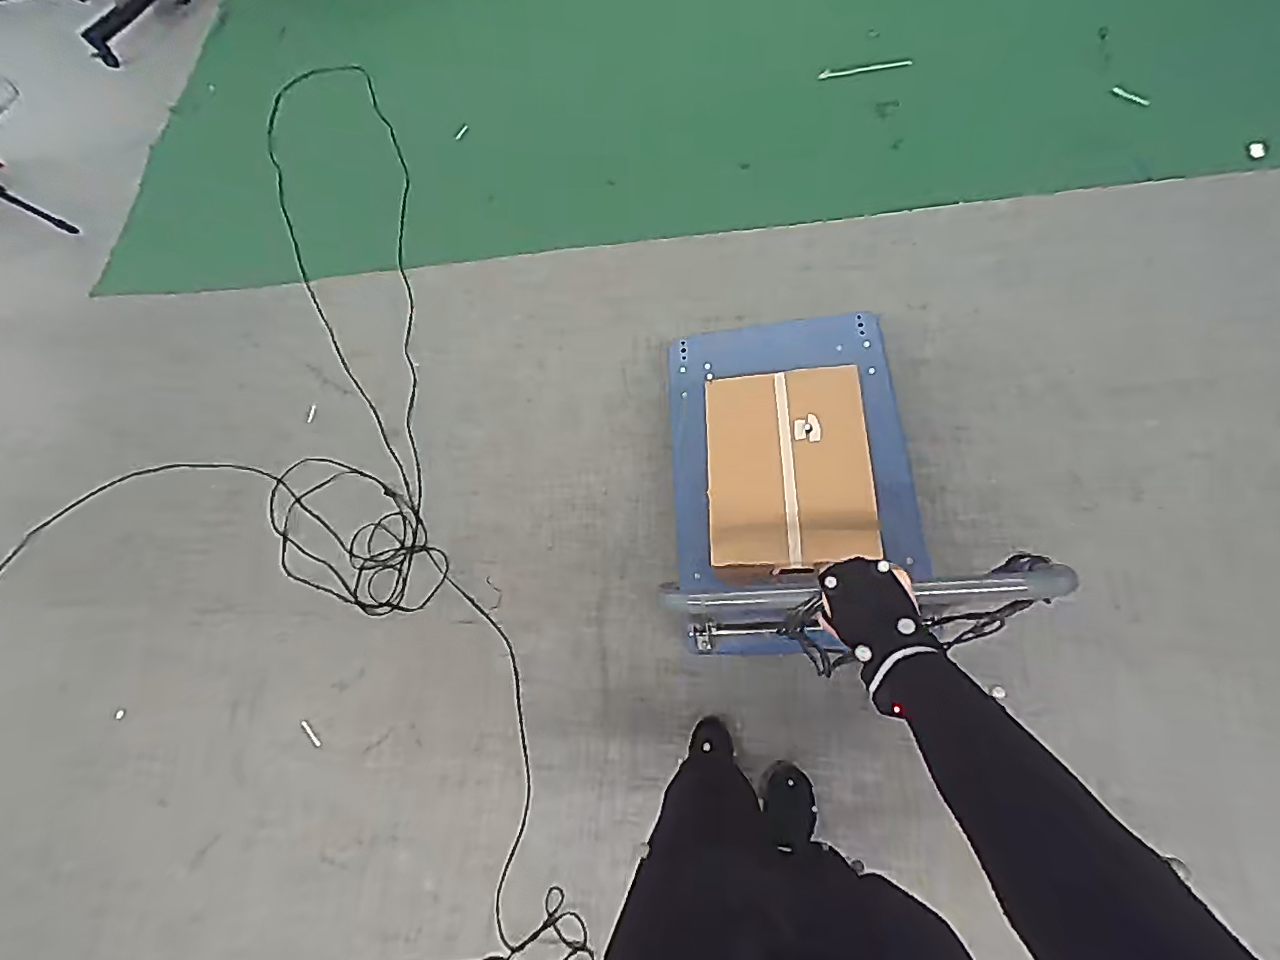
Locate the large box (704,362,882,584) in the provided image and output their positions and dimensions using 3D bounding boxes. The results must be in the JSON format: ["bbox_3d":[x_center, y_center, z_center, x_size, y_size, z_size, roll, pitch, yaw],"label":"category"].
[{"bbox_3d":[0.319,0.005,1.201,0.320,0.320,0.408,-3,71,11],"label":"large box"}]
